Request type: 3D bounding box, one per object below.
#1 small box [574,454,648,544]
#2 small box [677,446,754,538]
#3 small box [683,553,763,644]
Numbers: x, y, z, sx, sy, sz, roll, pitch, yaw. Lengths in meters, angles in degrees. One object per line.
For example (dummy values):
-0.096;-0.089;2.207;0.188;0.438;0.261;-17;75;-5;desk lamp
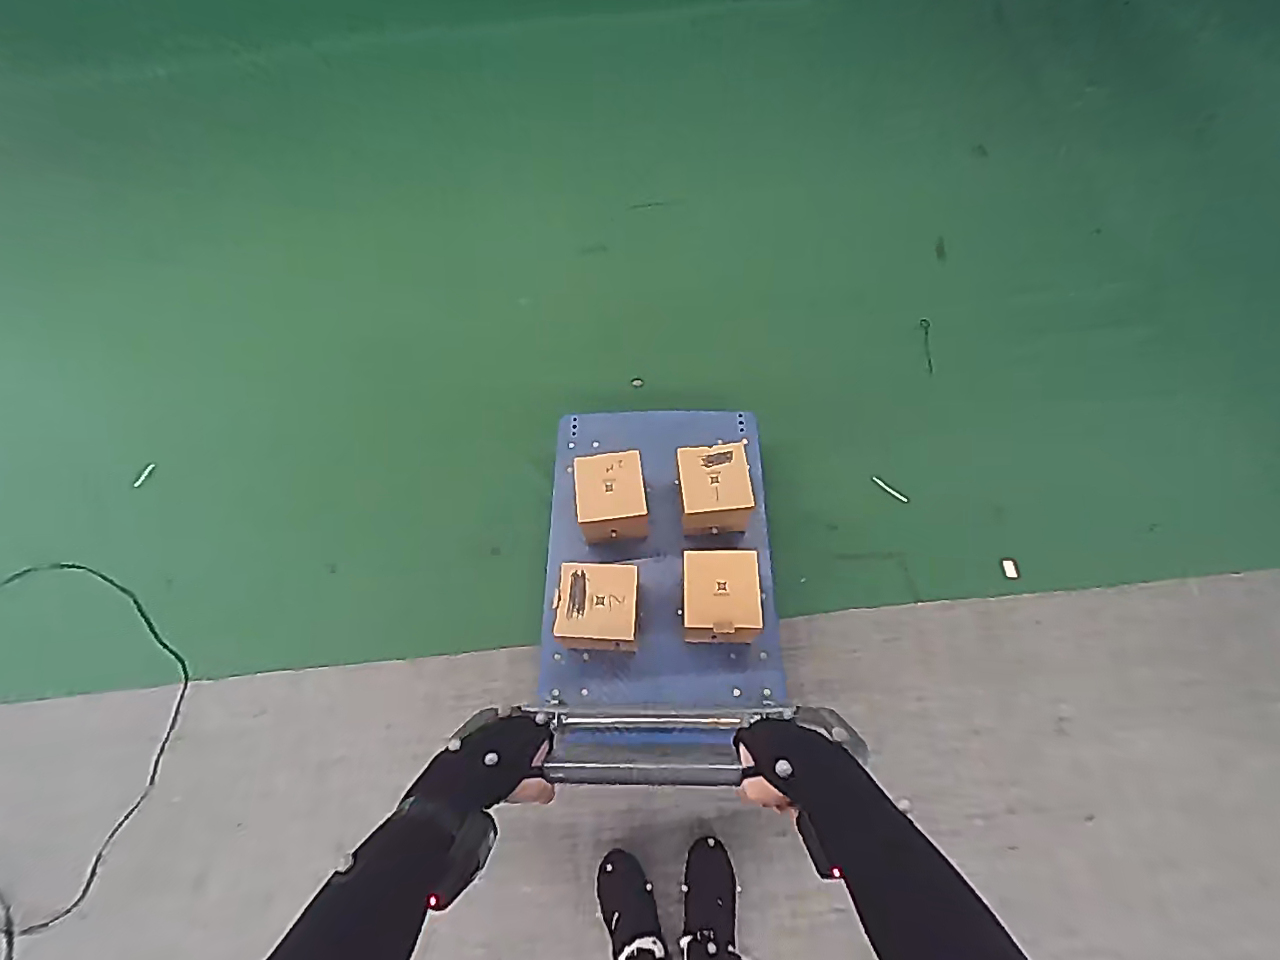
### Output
-0.070;0.055;1.371;0.168;0.176;0.179;-7;64;-1;small box
0.183;0.033;1.367;0.168;0.176;0.179;-6;65;1;small box
0.185;0.277;1.253;0.168;0.176;0.179;-1;65;3;small box
